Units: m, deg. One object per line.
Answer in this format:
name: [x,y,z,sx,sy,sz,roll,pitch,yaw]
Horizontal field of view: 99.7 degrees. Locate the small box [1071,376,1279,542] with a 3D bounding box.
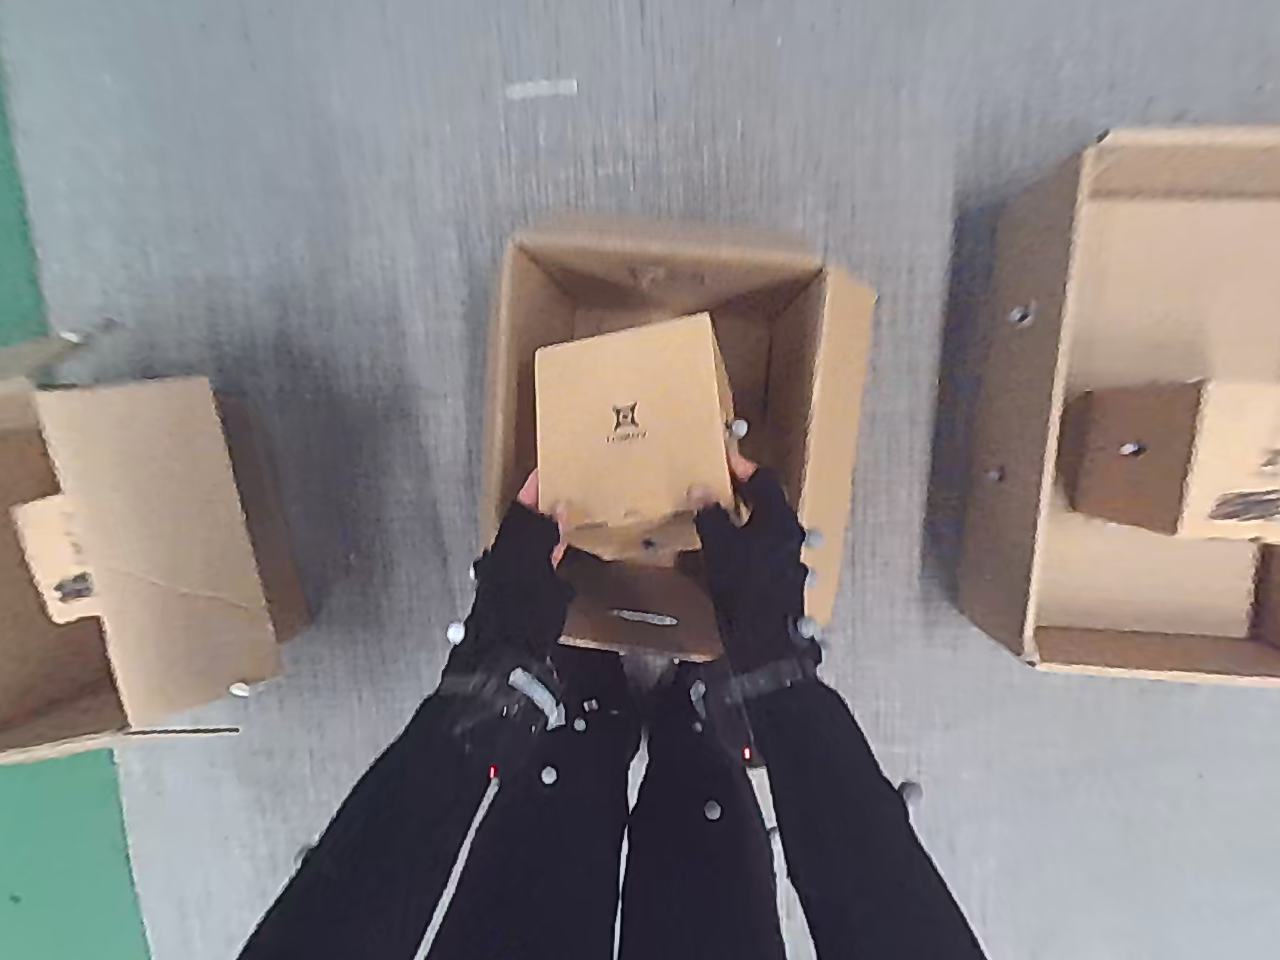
small box: [0.683,-0.029,0.670,0.168,0.176,0.179,4,95,4]
